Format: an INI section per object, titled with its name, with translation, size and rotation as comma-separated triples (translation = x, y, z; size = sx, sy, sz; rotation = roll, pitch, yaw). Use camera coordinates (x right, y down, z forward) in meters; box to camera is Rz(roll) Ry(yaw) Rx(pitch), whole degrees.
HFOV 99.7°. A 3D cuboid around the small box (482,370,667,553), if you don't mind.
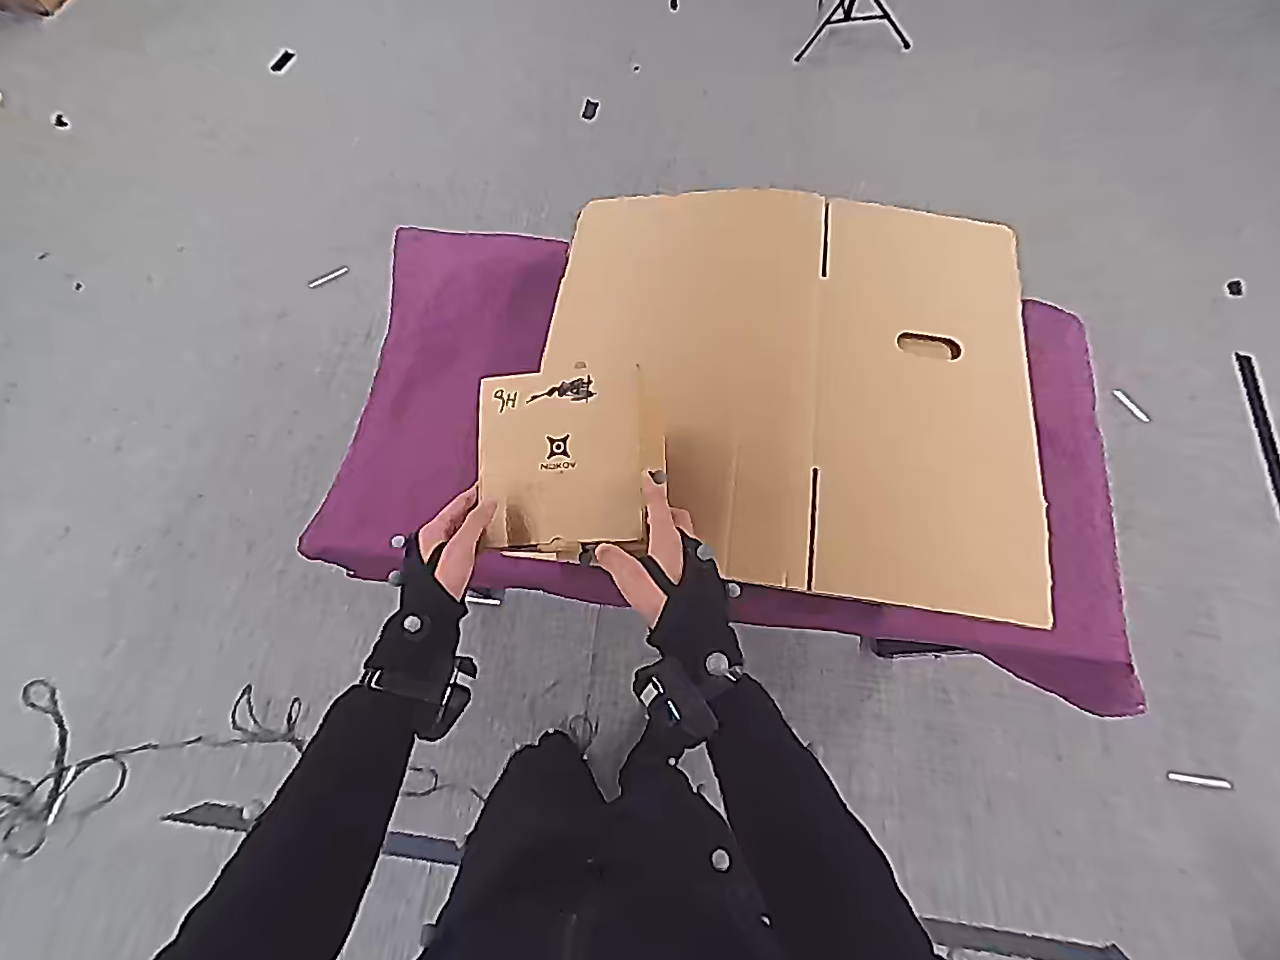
[small box]
translation = -0.062, -0.009, 0.608
size = 0.168, 0.176, 0.179
rotation = -3, 81, 10
